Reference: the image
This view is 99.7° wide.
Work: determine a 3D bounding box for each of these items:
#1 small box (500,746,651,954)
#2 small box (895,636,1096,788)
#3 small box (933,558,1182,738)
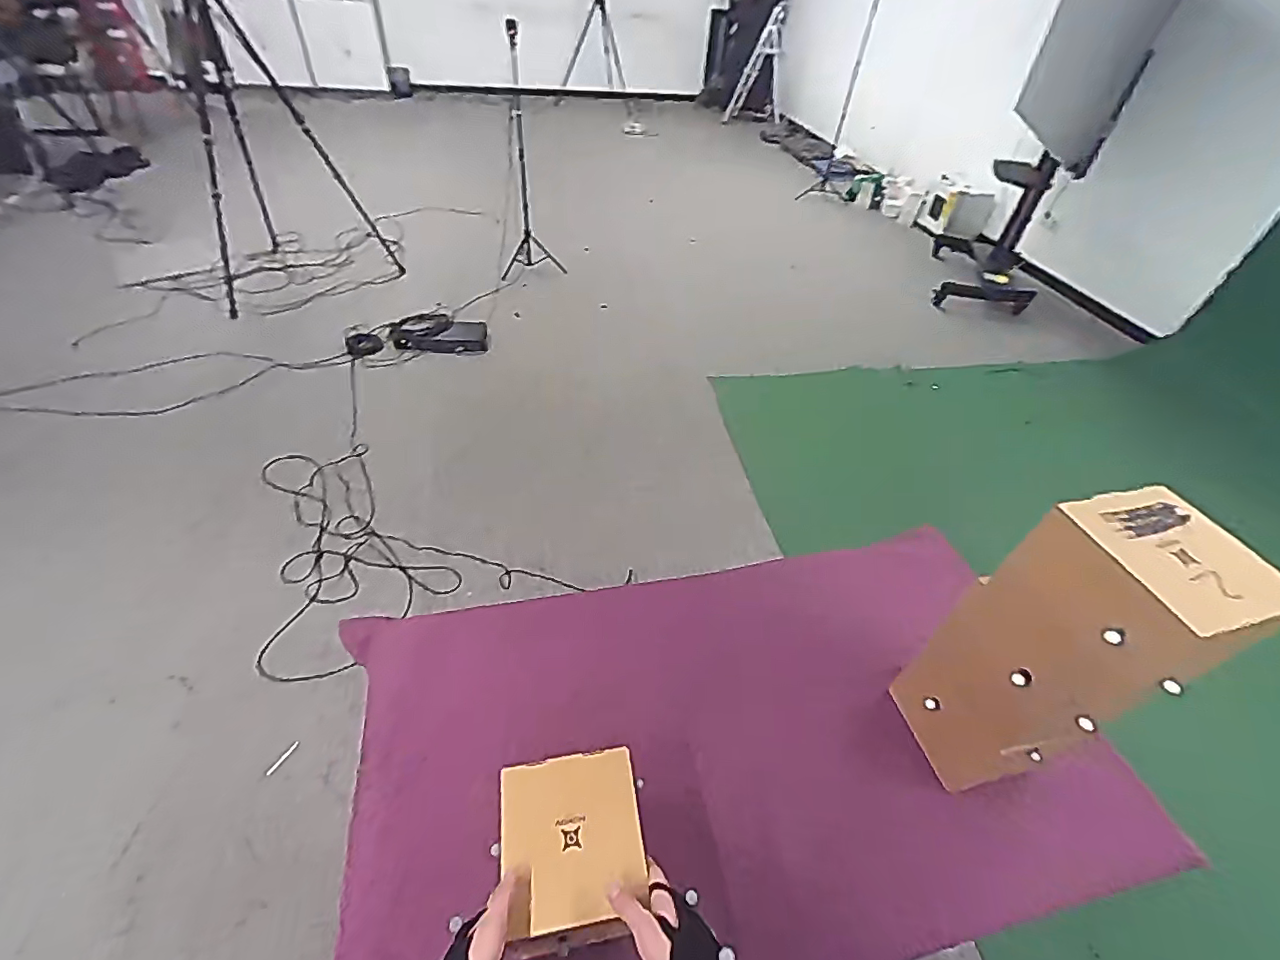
[{"bbox_3d":[-0.080,0.472,0.687,0.168,0.176,0.179,-7,43,-8],"label":"small box"},{"bbox_3d":[0.545,0.356,0.863,0.168,0.176,0.179,-8,45,-11],"label":"small box"},{"bbox_3d":[0.553,0.236,0.749,0.168,0.176,0.179,-6,45,-11],"label":"small box"}]
